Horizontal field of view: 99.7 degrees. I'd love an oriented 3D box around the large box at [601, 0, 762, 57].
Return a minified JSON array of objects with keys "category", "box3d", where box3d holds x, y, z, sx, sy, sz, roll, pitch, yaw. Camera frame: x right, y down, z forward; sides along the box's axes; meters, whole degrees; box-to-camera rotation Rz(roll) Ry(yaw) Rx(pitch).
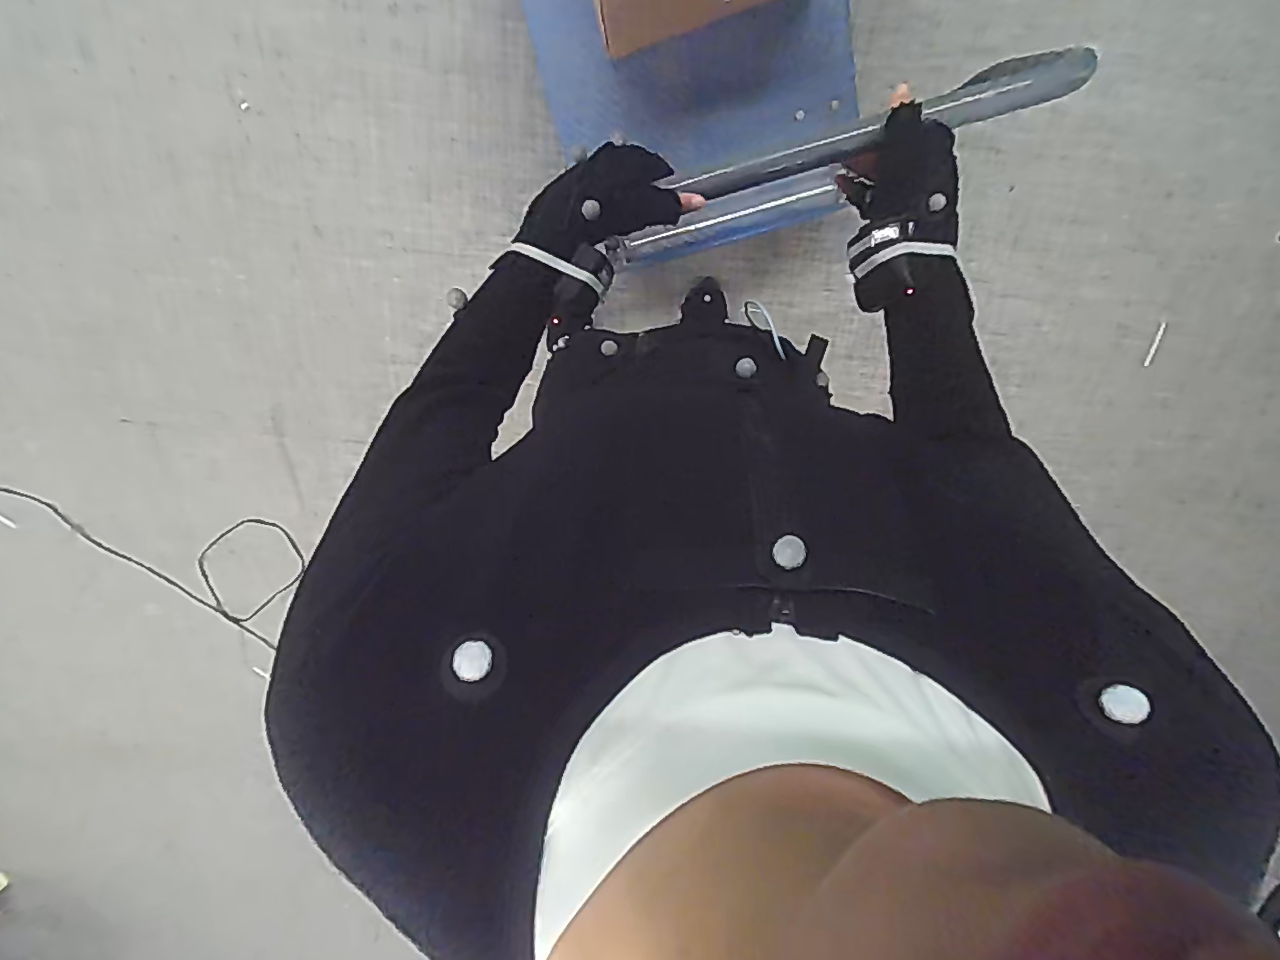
[{"category":"large box","box3d":[0.099,-0.930,0.812,0.408,0.320,0.320,-16,111,7]}]
